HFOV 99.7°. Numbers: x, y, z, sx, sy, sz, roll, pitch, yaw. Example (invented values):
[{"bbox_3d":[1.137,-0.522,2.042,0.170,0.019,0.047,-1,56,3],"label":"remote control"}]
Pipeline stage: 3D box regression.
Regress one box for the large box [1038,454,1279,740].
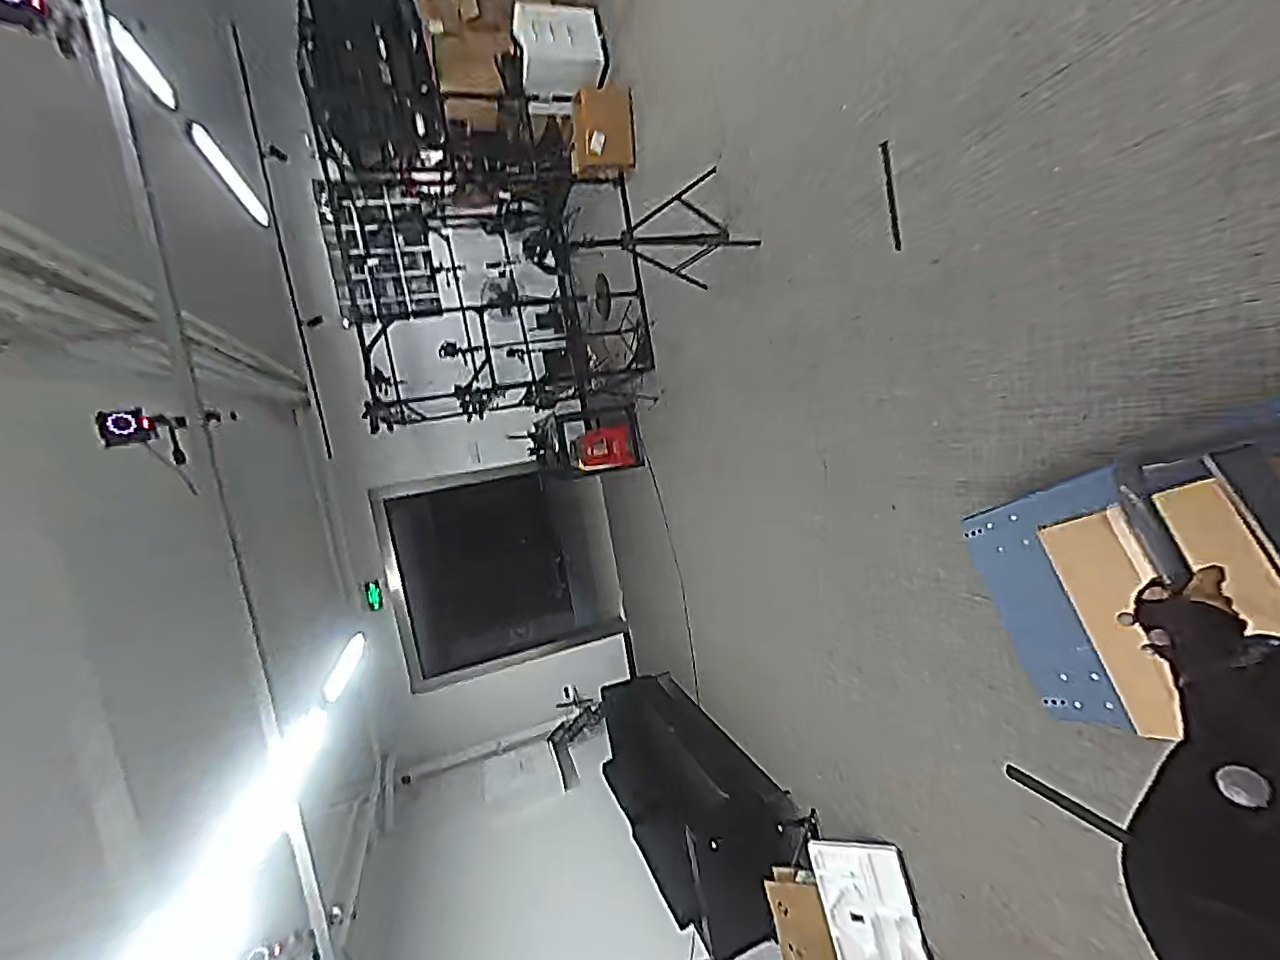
[{"bbox_3d":[1.039,0.200,0.953,0.320,0.320,0.408,123,133,-65],"label":"large box"}]
